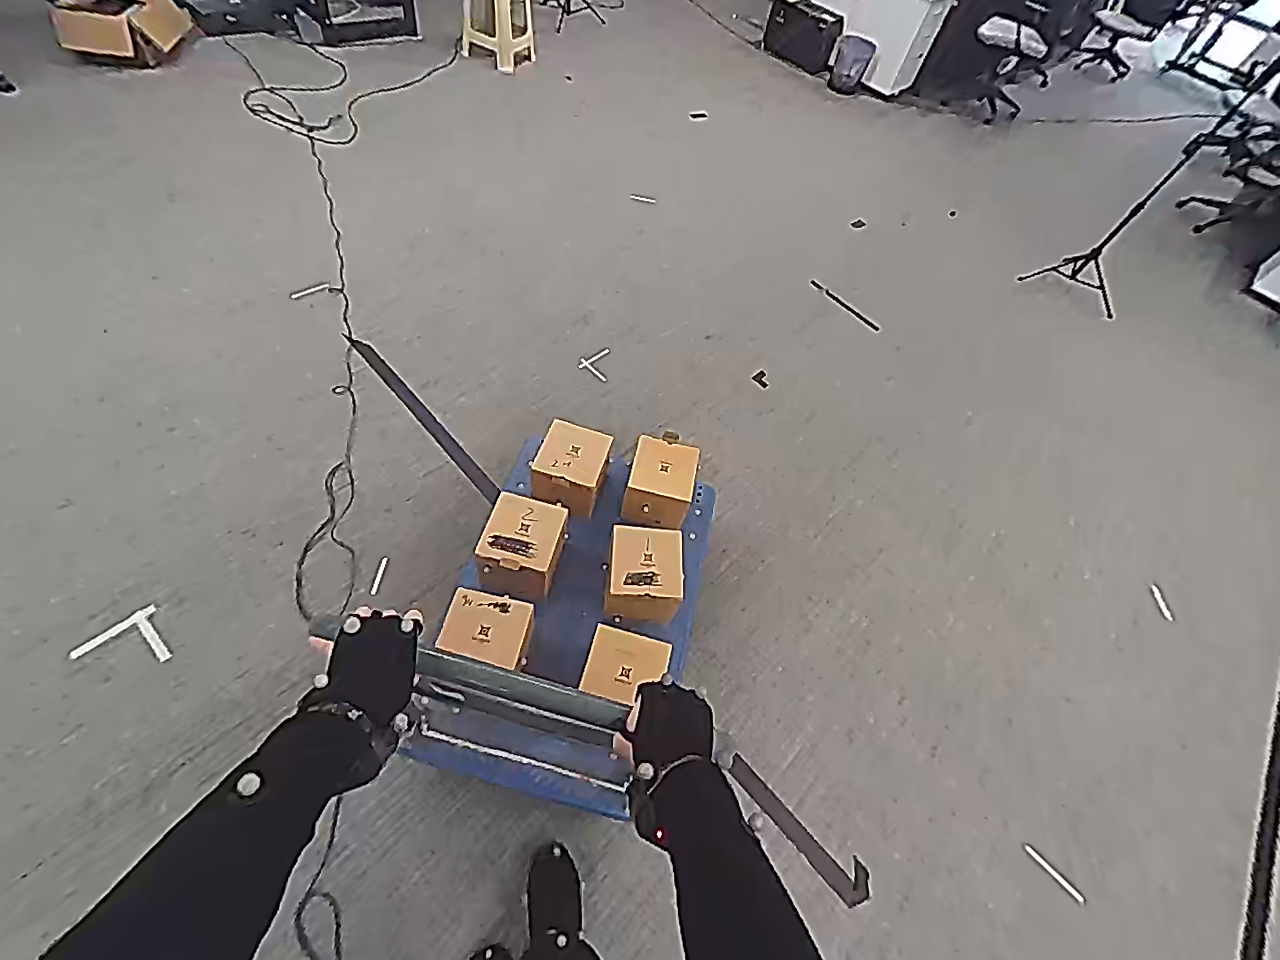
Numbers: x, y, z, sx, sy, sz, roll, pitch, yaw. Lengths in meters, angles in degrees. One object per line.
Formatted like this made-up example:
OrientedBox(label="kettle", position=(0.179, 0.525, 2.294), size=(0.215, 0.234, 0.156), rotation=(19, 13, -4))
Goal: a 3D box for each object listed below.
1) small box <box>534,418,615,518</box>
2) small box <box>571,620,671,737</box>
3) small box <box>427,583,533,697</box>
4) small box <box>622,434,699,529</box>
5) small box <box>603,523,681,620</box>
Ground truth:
OrientedBox(label="small box", position=(-0.179, -0.030, 1.445), size=(0.168, 0.176, 0.179), rotation=(18, 56, 1))
OrientedBox(label="small box", position=(-0.045, 0.433, 1.163), size=(0.168, 0.176, 0.179), rotation=(17, 54, 0))
OrientedBox(label="small box", position=(-0.331, 0.350, 1.159), size=(0.168, 0.176, 0.179), rotation=(15, 55, -3))
OrientedBox(label="small box", position=(0.052, 0.009, 1.467), size=(0.168, 0.176, 0.179), rotation=(14, 55, -1))
OrientedBox(label="small box", position=(0.004, 0.227, 1.310), size=(0.168, 0.176, 0.179), rotation=(7, 55, -7))
